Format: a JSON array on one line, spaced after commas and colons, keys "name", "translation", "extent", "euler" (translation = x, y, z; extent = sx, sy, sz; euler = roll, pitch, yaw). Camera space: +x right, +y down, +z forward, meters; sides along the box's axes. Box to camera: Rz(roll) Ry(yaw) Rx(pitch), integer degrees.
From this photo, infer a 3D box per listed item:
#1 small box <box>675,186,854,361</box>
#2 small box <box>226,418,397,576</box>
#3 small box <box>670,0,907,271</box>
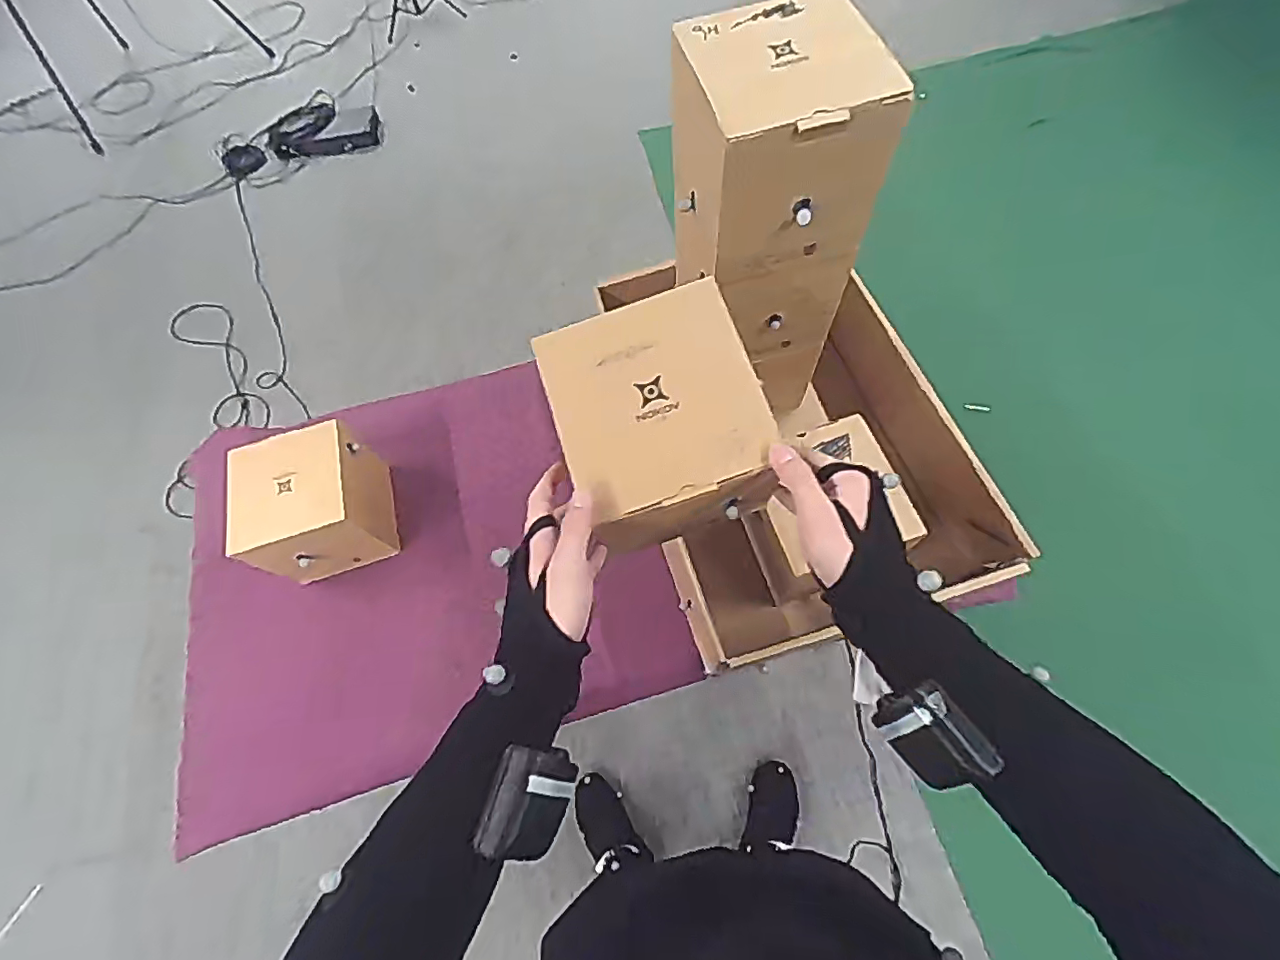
[{"name": "small box", "translation": [0.148, -0.276, 0.704], "extent": [0.168, 0.176, 0.179], "euler": [-15, 65, -2]}, {"name": "small box", "translation": [-0.502, 0.037, 0.846], "extent": [0.168, 0.176, 0.179], "euler": [-18, 64, -4]}, {"name": "small box", "translation": [0.133, -0.340, 0.554], "extent": [0.168, 0.176, 0.179], "euler": [-14, 67, -2]}]
